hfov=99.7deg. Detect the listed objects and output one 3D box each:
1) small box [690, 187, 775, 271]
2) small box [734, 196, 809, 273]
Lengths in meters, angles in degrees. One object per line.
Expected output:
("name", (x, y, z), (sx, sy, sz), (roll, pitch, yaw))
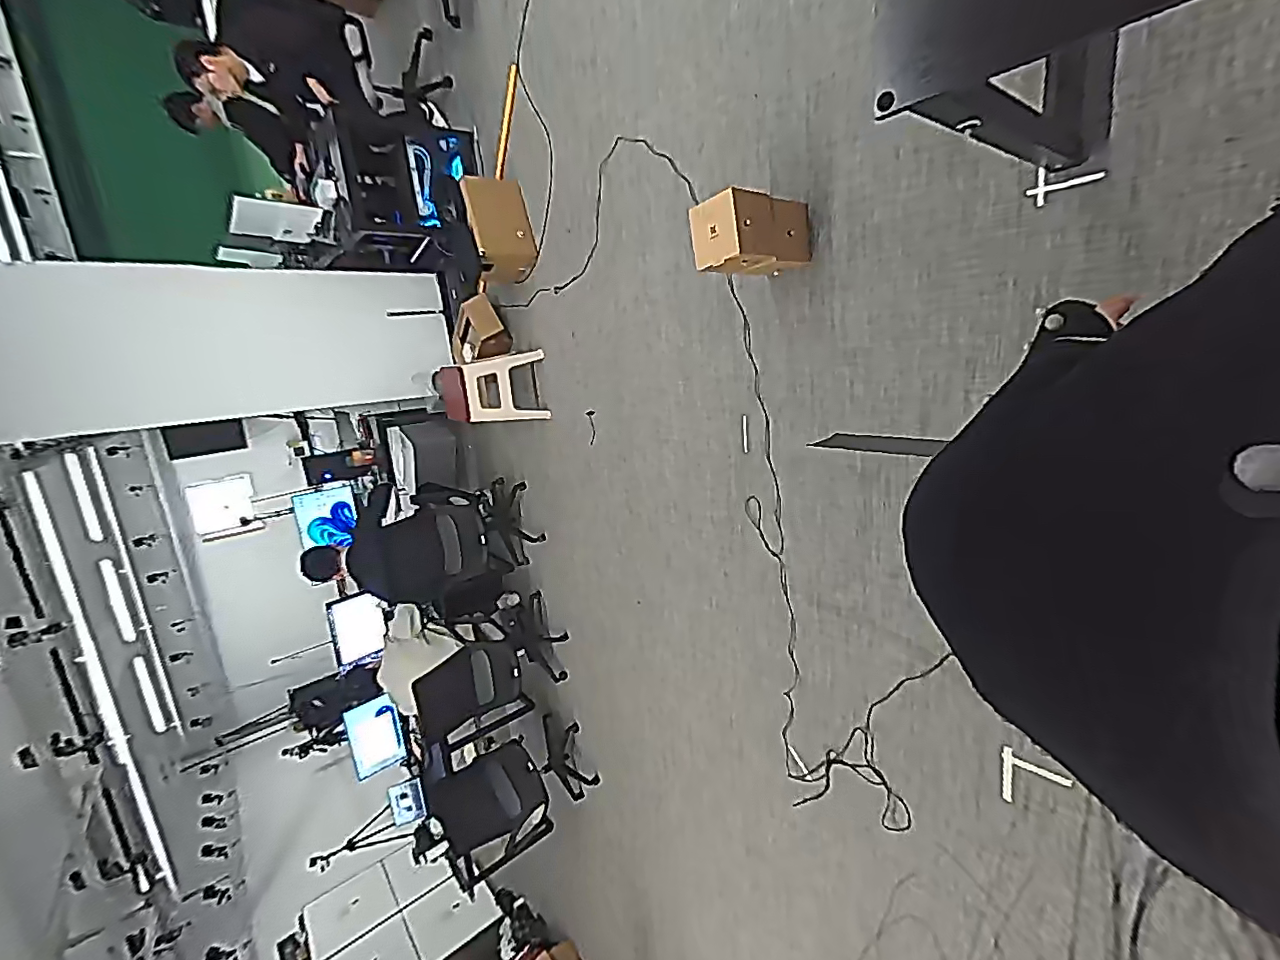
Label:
("small box", (0.267, -0.707, 1.542), (0.168, 0.176, 0.179), (1, 102, 51))
("small box", (0.394, -0.736, 1.640), (0.168, 0.176, 0.179), (6, 107, 51))
